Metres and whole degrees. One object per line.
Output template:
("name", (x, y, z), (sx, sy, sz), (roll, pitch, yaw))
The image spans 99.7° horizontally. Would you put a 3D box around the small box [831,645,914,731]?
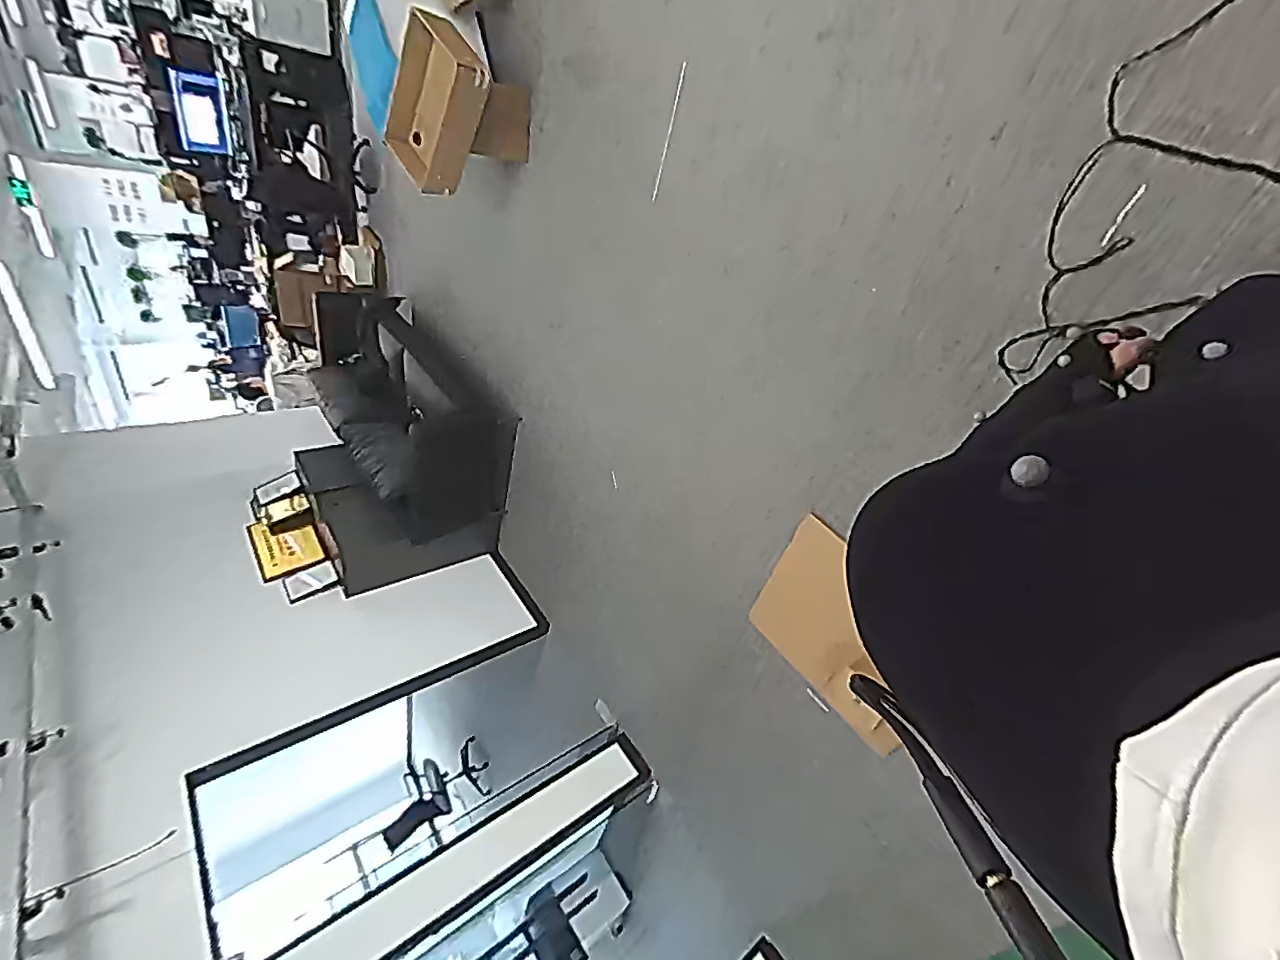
("small box", (0.782, 0.691, 1.810), (0.168, 0.176, 0.179), (40, 130, 37))
